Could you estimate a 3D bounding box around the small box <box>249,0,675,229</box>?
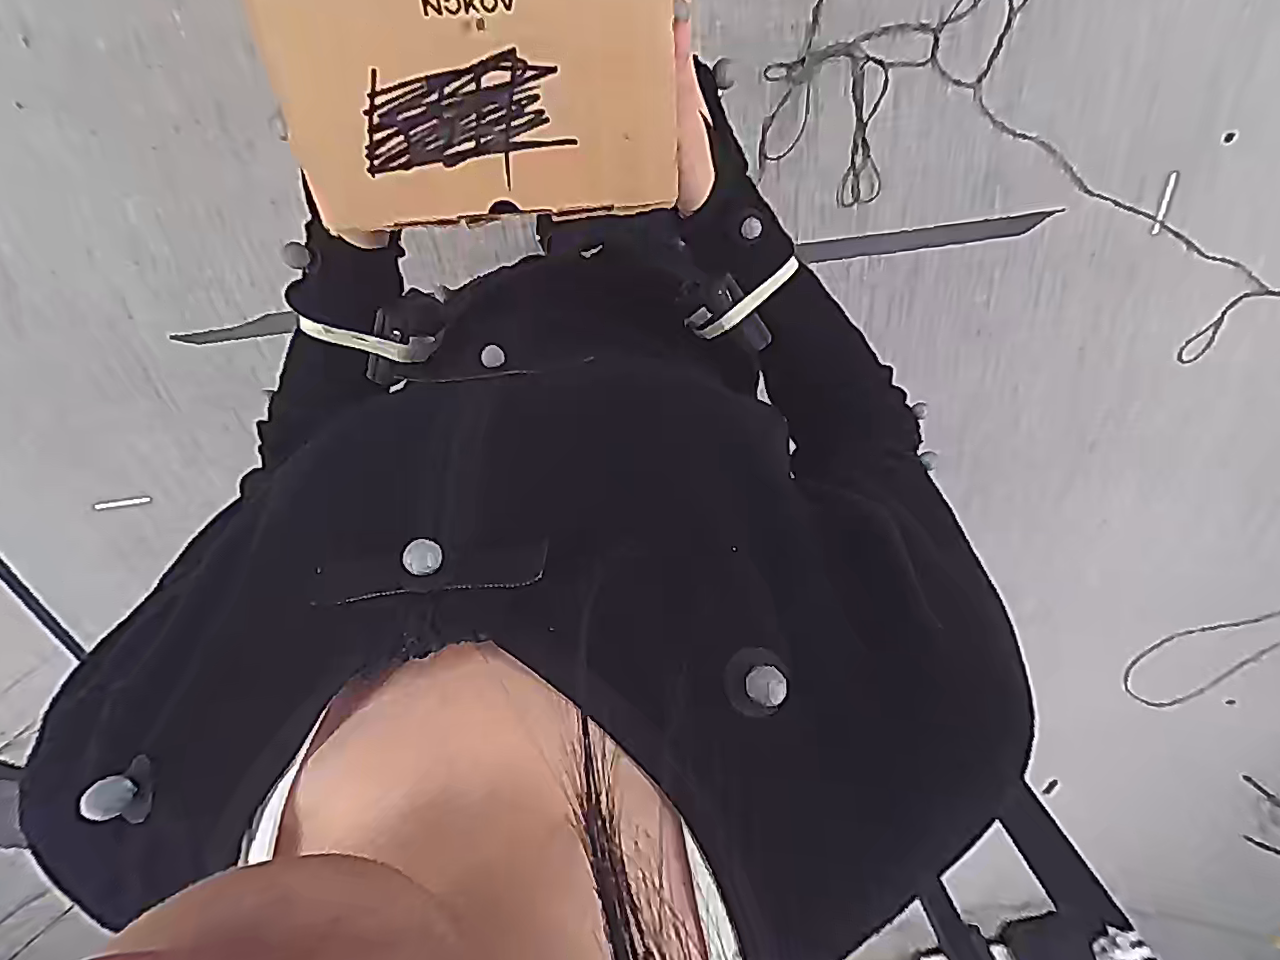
[{"bbox_3d":[-0.075,-0.239,0.271,0.168,0.176,0.179,-7,124,-4],"label":"small box"}]
